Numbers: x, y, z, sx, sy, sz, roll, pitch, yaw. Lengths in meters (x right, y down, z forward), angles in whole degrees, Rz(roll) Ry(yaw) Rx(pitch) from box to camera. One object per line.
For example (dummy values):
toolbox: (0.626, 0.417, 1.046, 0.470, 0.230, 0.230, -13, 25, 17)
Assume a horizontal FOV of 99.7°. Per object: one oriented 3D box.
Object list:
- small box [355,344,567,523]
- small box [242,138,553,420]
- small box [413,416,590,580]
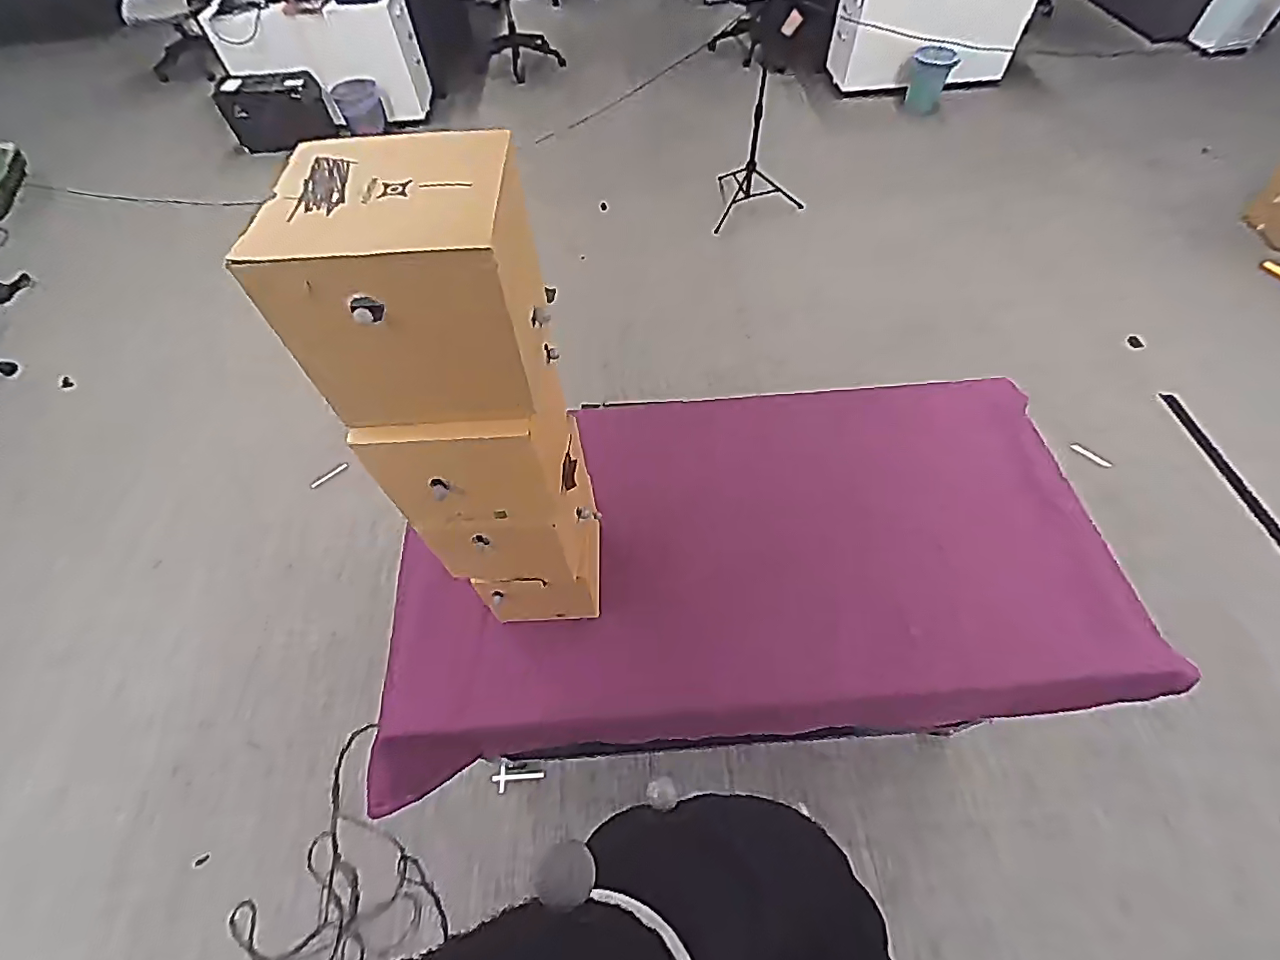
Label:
small box: (-0.175, -0.061, 0.596, 0.168, 0.176, 0.179, -3, 55, 1)
small box: (-0.180, -0.165, 0.468, 0.179, 0.176, 0.168, -3, 56, 0)
small box: (-0.171, 0.026, 0.733, 0.179, 0.176, 0.168, 3, 57, 4)
